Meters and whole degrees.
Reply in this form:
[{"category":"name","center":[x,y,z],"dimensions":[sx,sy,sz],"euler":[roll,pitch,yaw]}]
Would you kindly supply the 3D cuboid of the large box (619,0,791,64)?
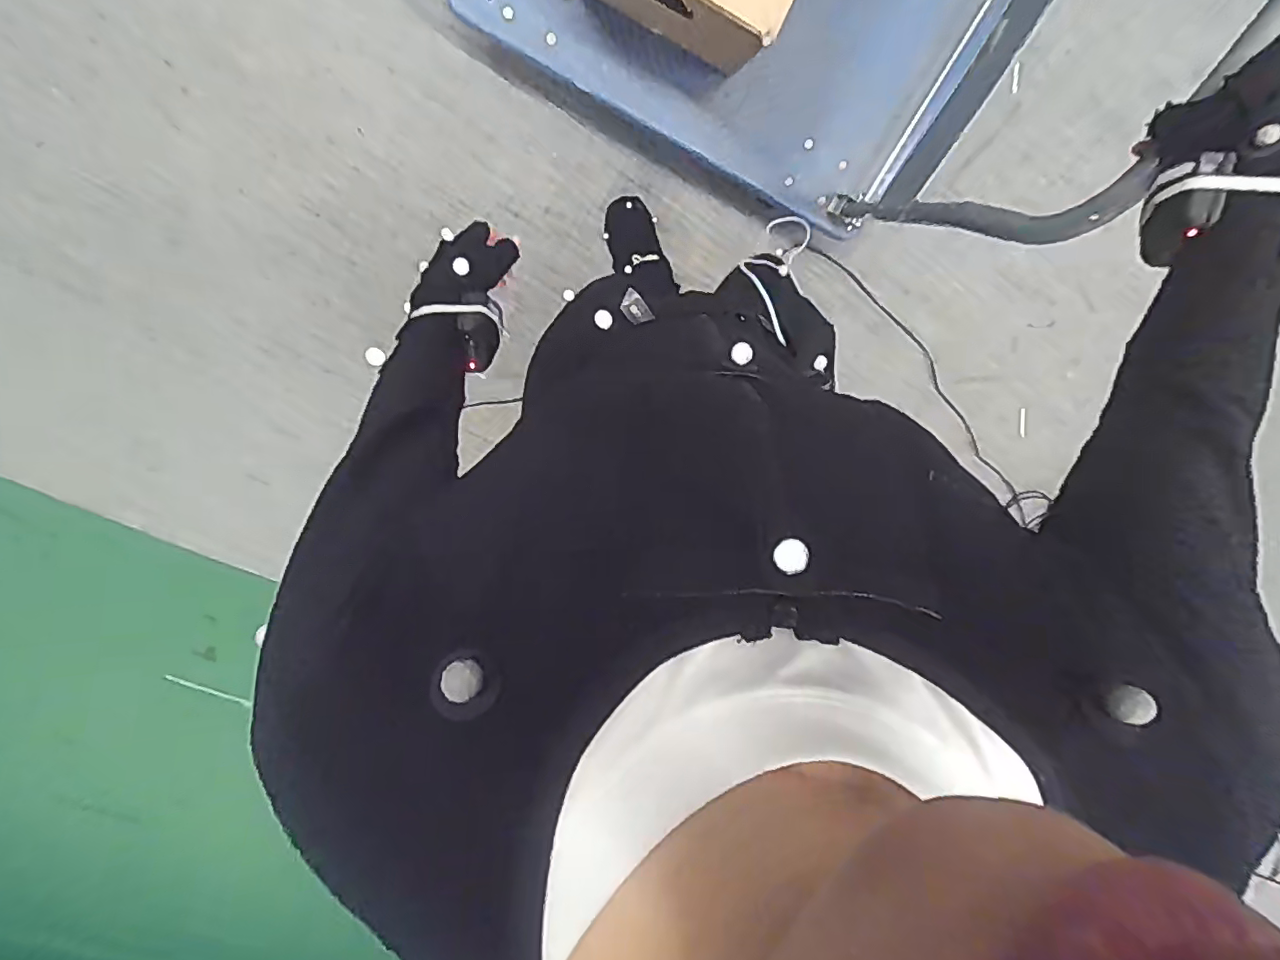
[{"category":"large box","center":[0.113,-0.875,0.723],"dimensions":[0.320,0.320,0.408],"euler":[21,119,-12]}]
